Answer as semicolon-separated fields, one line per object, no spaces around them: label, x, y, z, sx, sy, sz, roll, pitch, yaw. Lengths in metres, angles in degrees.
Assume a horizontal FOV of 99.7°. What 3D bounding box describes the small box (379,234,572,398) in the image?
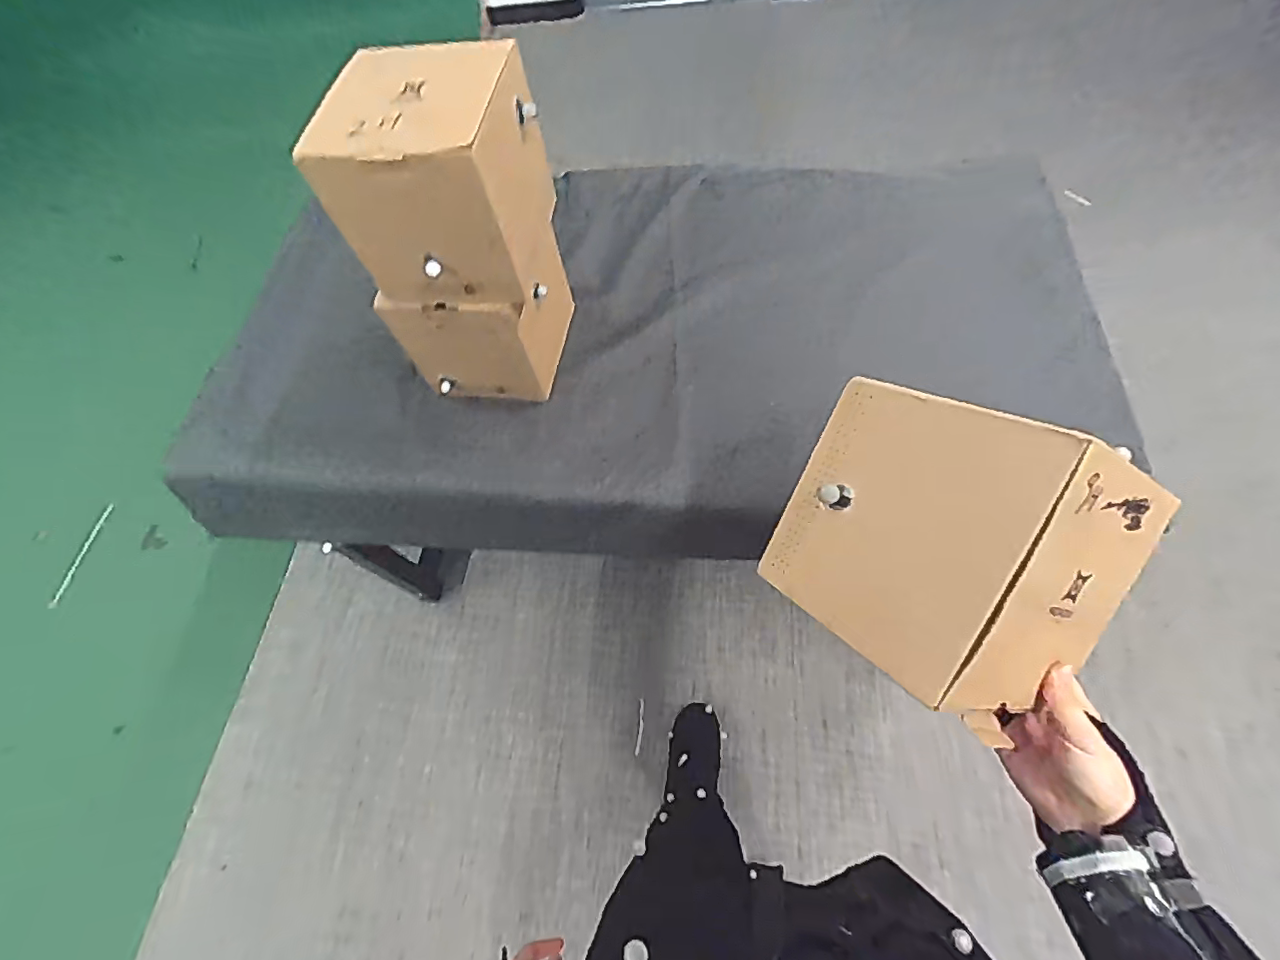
small box;-0.198;-0.226;0.711;0.168;0.176;0.179;6;62;9

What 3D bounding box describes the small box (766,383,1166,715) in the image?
small box;0.223;0.047;0.405;0.176;0.168;0.179;38;108;54

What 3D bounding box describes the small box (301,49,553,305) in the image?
small box;-0.198;-0.309;0.568;0.168;0.176;0.179;3;63;9
